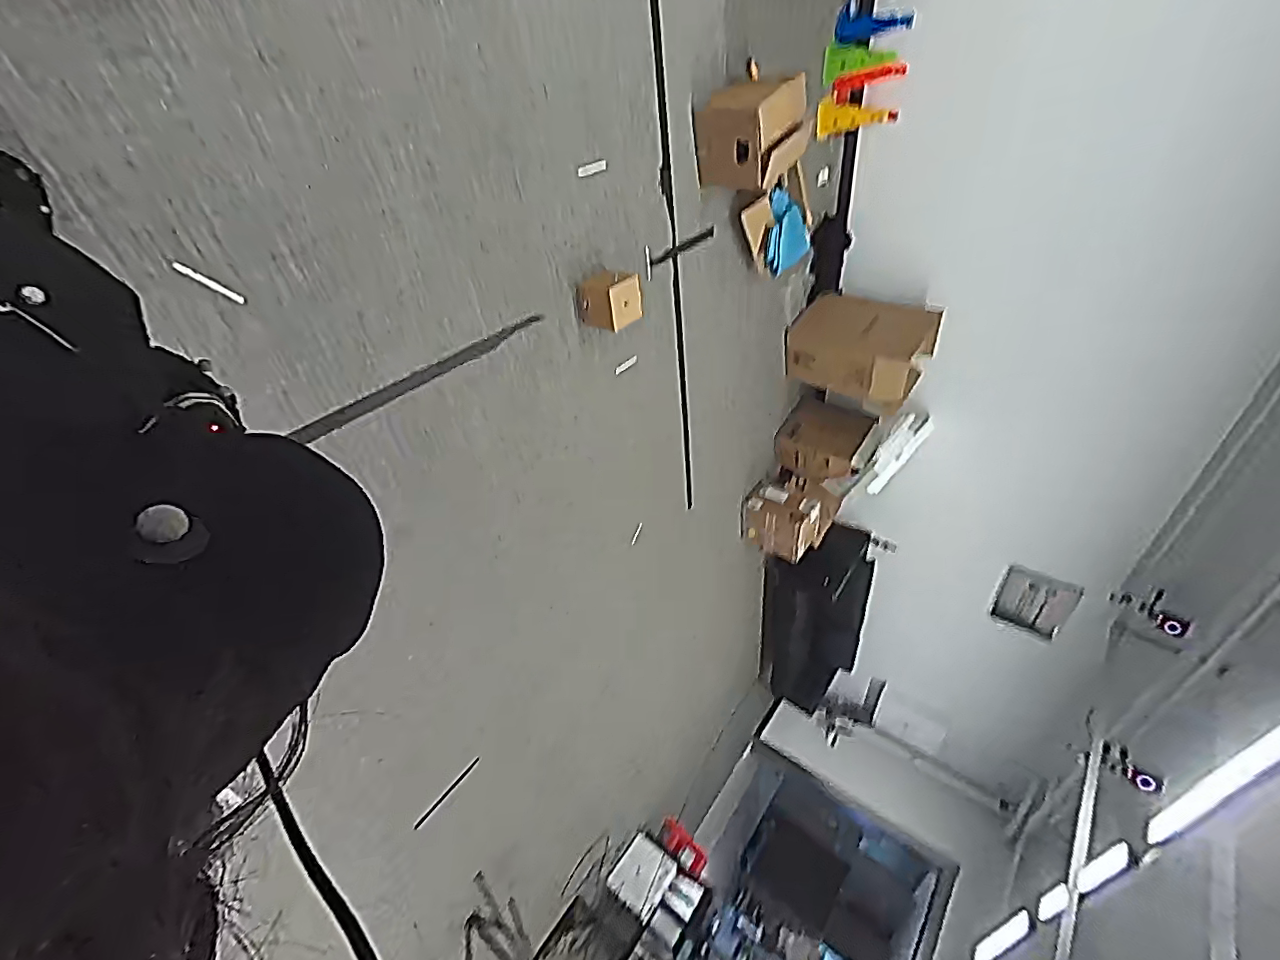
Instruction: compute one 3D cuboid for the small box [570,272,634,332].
[{"bbox_3d":[-0.147,-0.701,2.113,0.179,0.176,0.168,-41,139,-35],"label":"small box"}]
